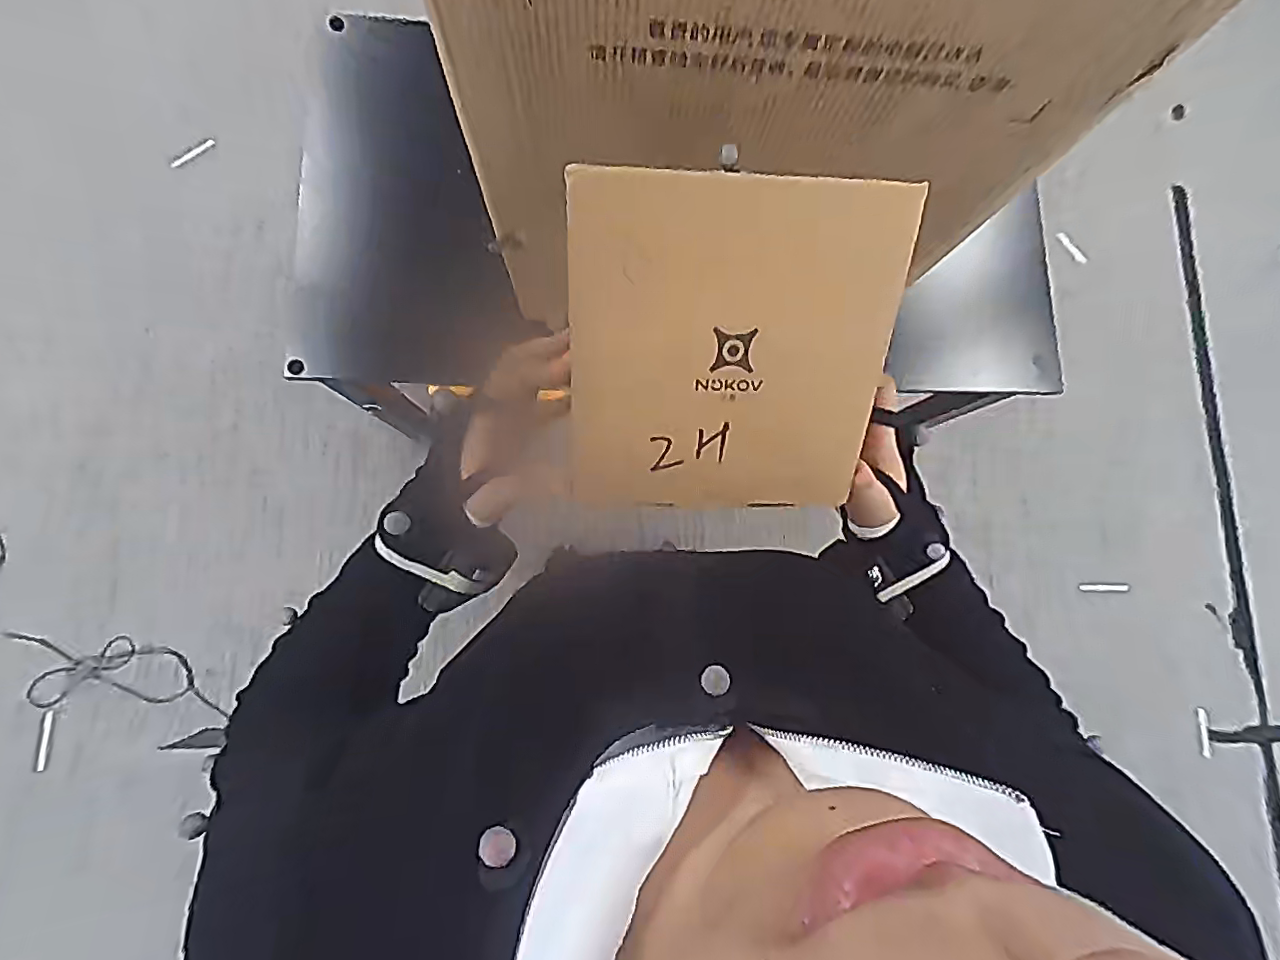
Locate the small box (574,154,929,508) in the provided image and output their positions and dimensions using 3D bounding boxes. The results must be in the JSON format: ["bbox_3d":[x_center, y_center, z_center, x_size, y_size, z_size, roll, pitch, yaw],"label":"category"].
[{"bbox_3d":[0.042,-0.099,0.348,0.168,0.176,0.179,1,119,-4],"label":"small box"}]
